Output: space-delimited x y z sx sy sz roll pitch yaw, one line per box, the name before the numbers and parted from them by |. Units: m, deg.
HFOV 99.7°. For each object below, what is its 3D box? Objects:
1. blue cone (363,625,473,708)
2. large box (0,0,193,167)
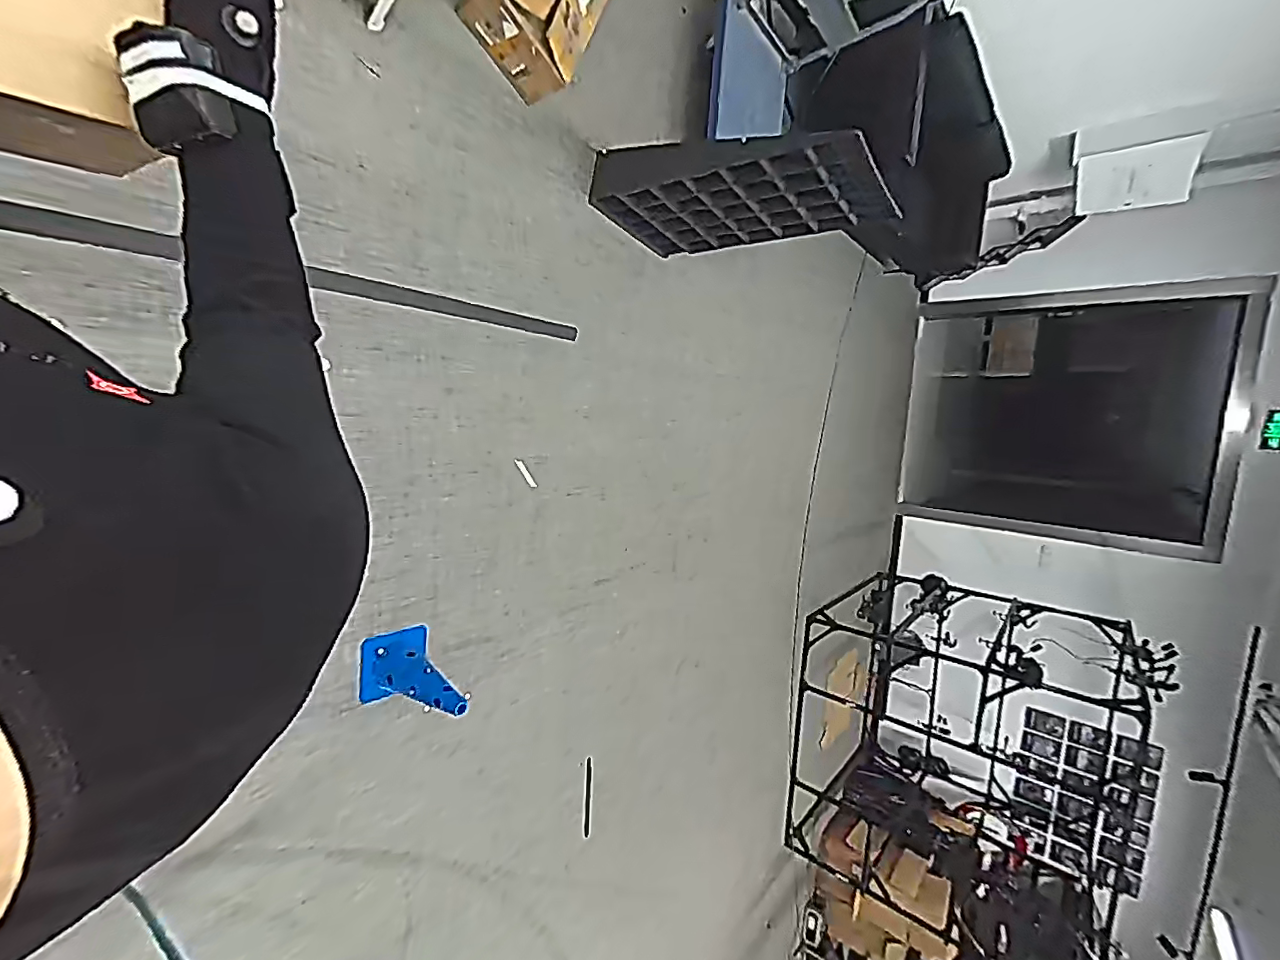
blue cone | -0.608 0.563 1.528 0.192 0.380 0.193 1 97 -52
large box | -0.571 -0.424 0.317 0.408 0.320 0.320 -11 114 -50
